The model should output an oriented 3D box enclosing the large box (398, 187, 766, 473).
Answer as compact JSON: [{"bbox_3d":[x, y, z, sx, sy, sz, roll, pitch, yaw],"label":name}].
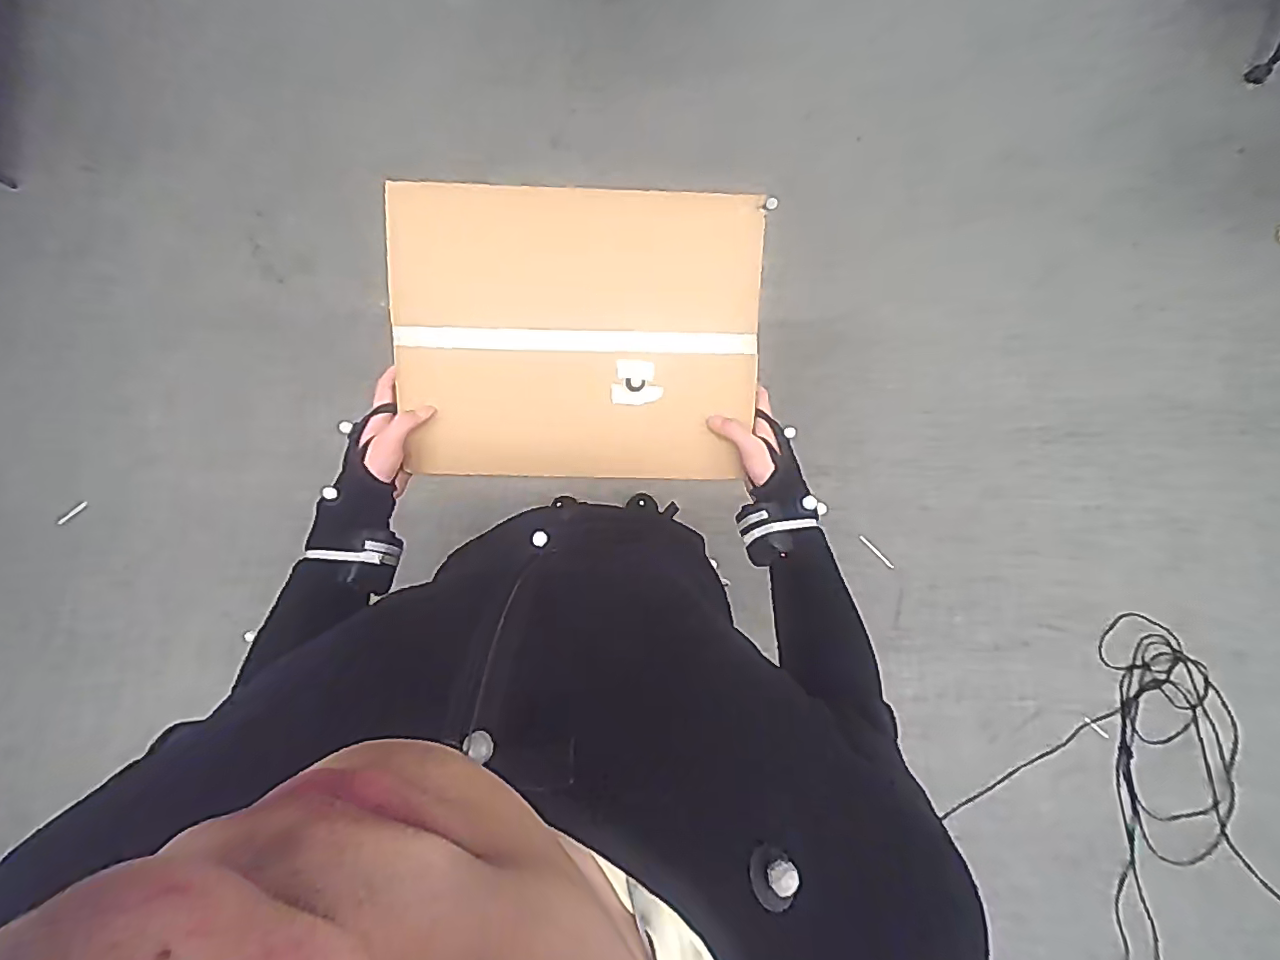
[{"bbox_3d":[-0.068,-0.191,0.757,0.408,0.320,0.320,0,102,-2],"label":"large box"}]
